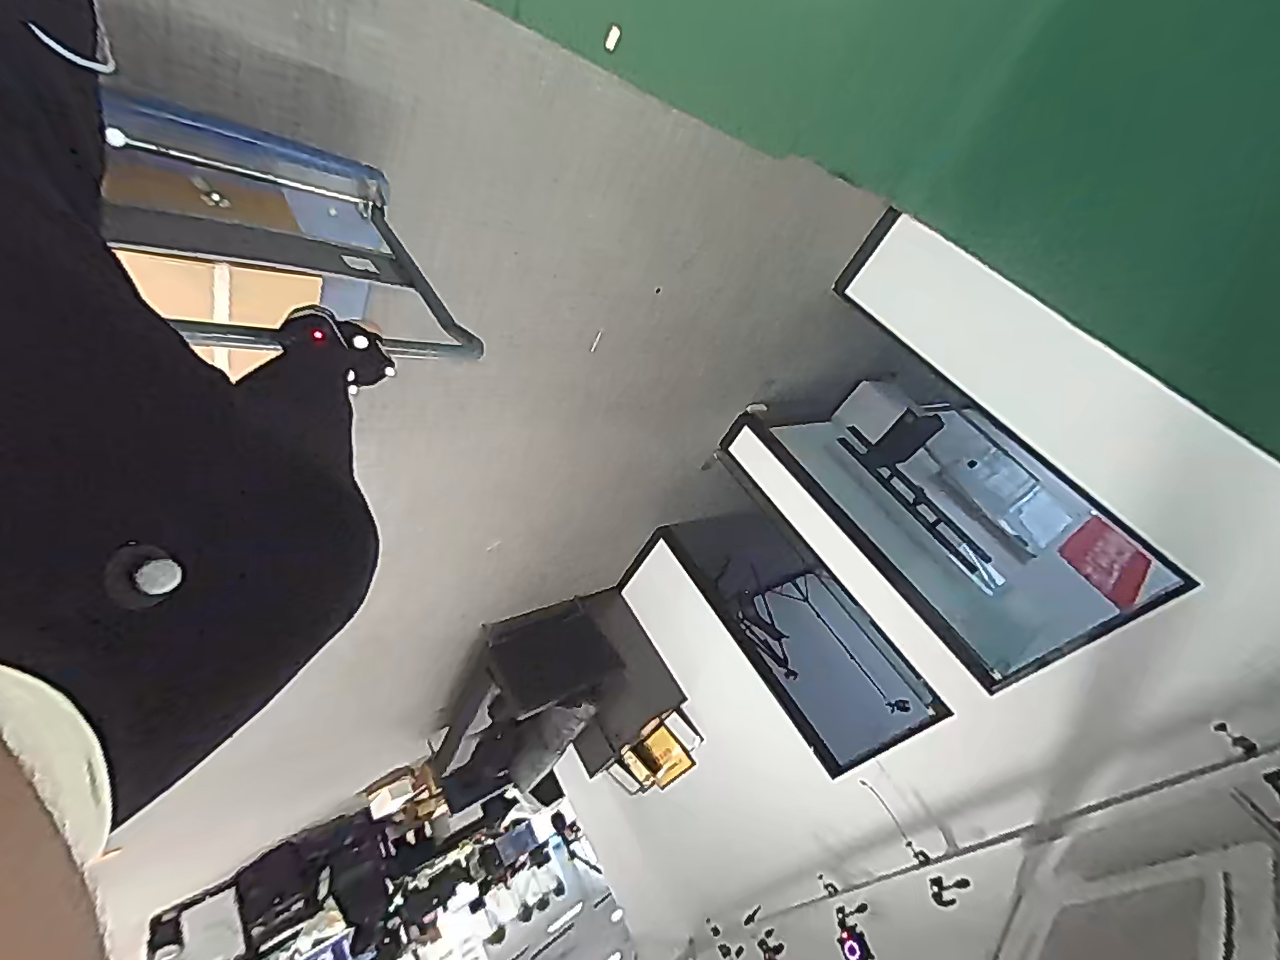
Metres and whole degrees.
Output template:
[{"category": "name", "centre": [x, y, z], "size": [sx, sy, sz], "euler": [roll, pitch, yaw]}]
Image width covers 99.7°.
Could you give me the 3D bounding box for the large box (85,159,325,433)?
[{"category": "large box", "centre": [-0.881, -0.352, 1.110], "size": [0.320, 0.320, 0.408], "euler": [-8, 143, -44]}]
